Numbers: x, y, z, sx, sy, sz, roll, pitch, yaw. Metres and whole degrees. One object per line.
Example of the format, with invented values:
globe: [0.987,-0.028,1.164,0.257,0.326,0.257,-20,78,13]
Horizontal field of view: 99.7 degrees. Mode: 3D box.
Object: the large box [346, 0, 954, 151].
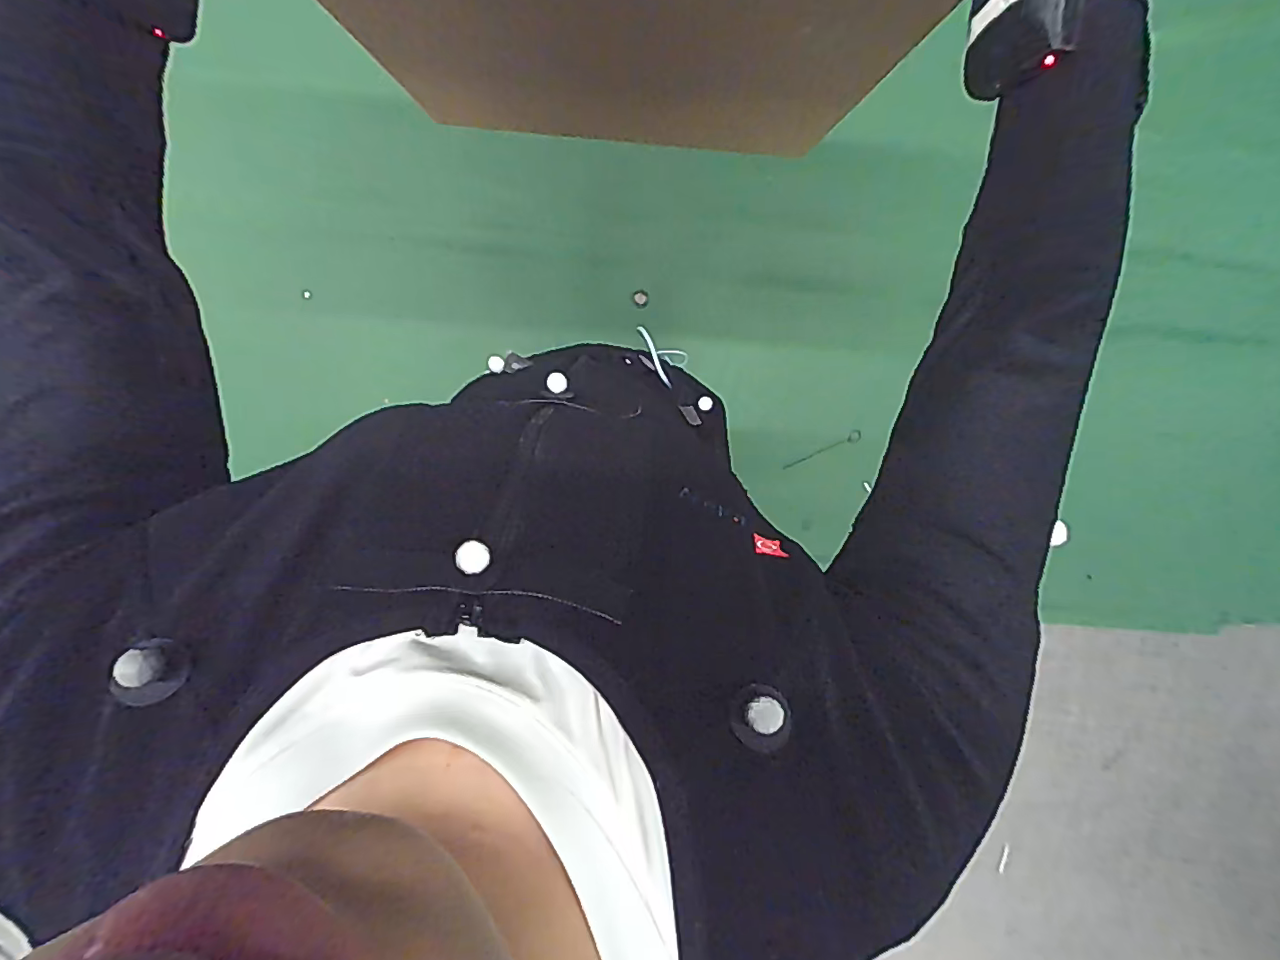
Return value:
large box: [0.001,-0.477,0.407,0.408,0.320,0.320,3,106,-3]
